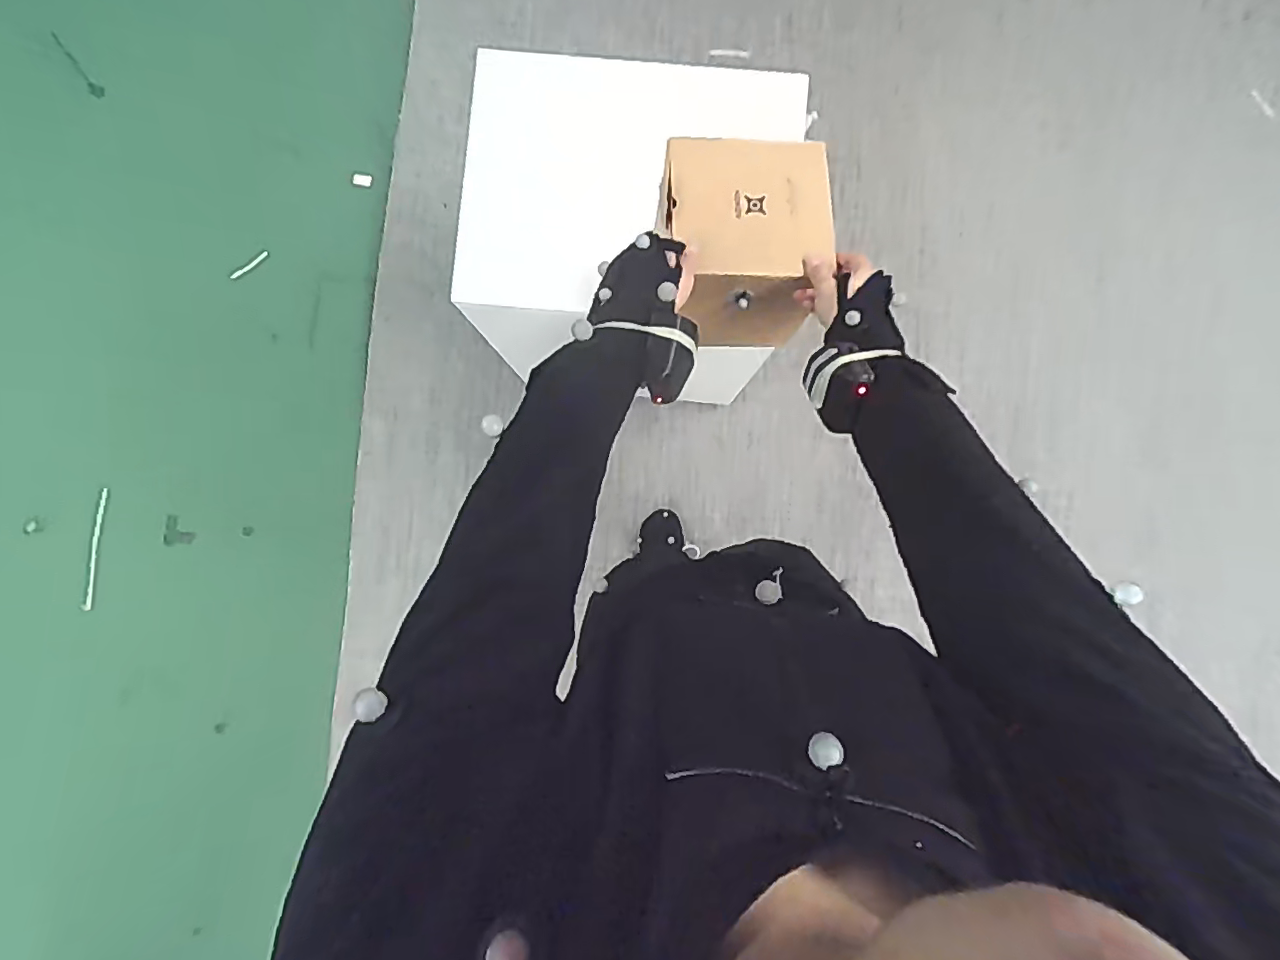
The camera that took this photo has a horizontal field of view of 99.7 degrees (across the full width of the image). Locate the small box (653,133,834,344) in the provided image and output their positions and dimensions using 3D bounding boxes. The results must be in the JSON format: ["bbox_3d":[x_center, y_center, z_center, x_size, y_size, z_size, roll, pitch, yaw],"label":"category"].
[{"bbox_3d":[0.107,-0.273,0.643,0.179,0.176,0.168,0,79,-5],"label":"small box"}]
